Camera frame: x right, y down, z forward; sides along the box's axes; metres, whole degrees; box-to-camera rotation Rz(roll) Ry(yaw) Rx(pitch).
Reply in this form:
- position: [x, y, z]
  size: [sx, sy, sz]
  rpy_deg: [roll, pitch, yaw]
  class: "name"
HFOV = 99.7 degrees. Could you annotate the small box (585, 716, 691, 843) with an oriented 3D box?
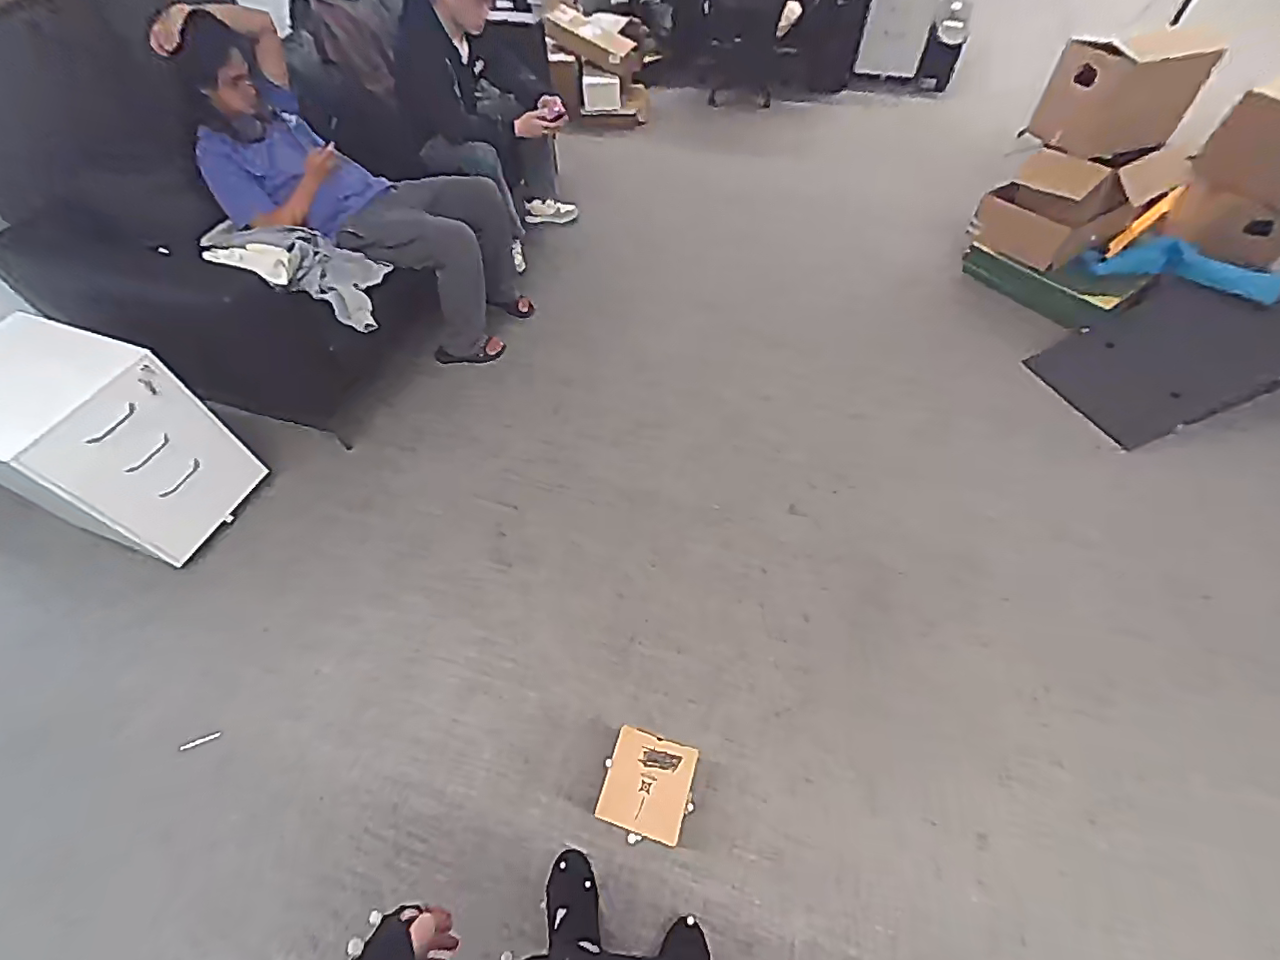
- position: [-0.001, 0.631, 1.136]
  size: [0.168, 0.176, 0.179]
  rpy_deg: [17, 56, 14]
  class: "small box"
